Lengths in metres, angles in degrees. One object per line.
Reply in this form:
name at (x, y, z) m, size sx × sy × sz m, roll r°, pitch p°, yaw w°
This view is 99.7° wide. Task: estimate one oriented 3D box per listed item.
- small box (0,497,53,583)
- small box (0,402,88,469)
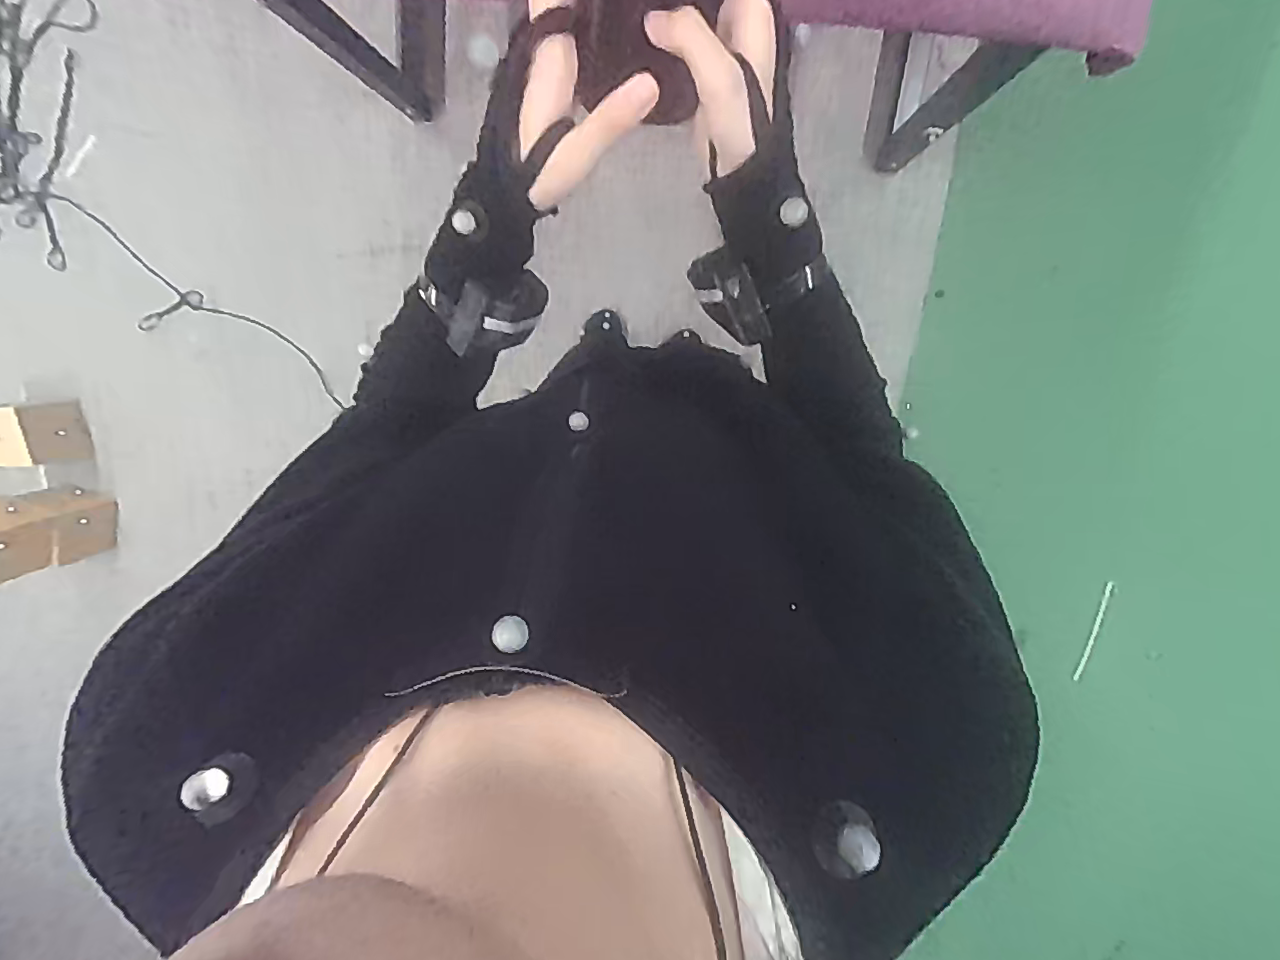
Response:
small box at (-1.756, 0.171, 1.460) m, size 0.168 × 0.176 × 0.179 m, roll 23°, pitch 104°, yaw -1°
small box at (-1.746, -0.131, 1.545) m, size 0.179 × 0.176 × 0.168 m, roll -1°, pitch 105°, yaw 5°
